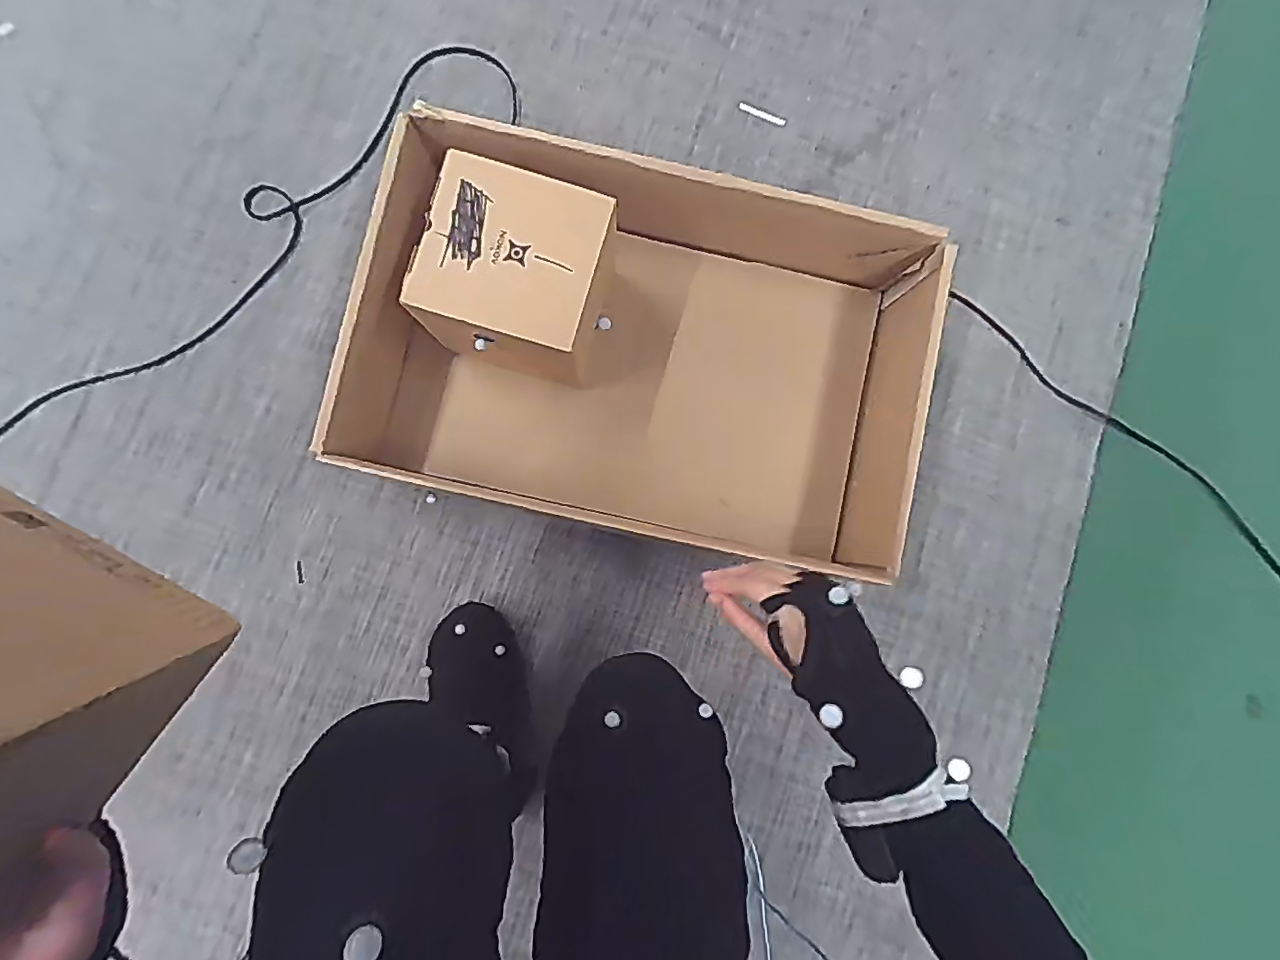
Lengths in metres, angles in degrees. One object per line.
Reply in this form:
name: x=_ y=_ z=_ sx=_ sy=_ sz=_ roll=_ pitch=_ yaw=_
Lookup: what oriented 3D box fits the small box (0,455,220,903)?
small box: x=-0.302 y=0.088 z=0.182 sx=0.168 sy=0.176 sz=0.179 roll=37 pitch=79 yaw=-11
